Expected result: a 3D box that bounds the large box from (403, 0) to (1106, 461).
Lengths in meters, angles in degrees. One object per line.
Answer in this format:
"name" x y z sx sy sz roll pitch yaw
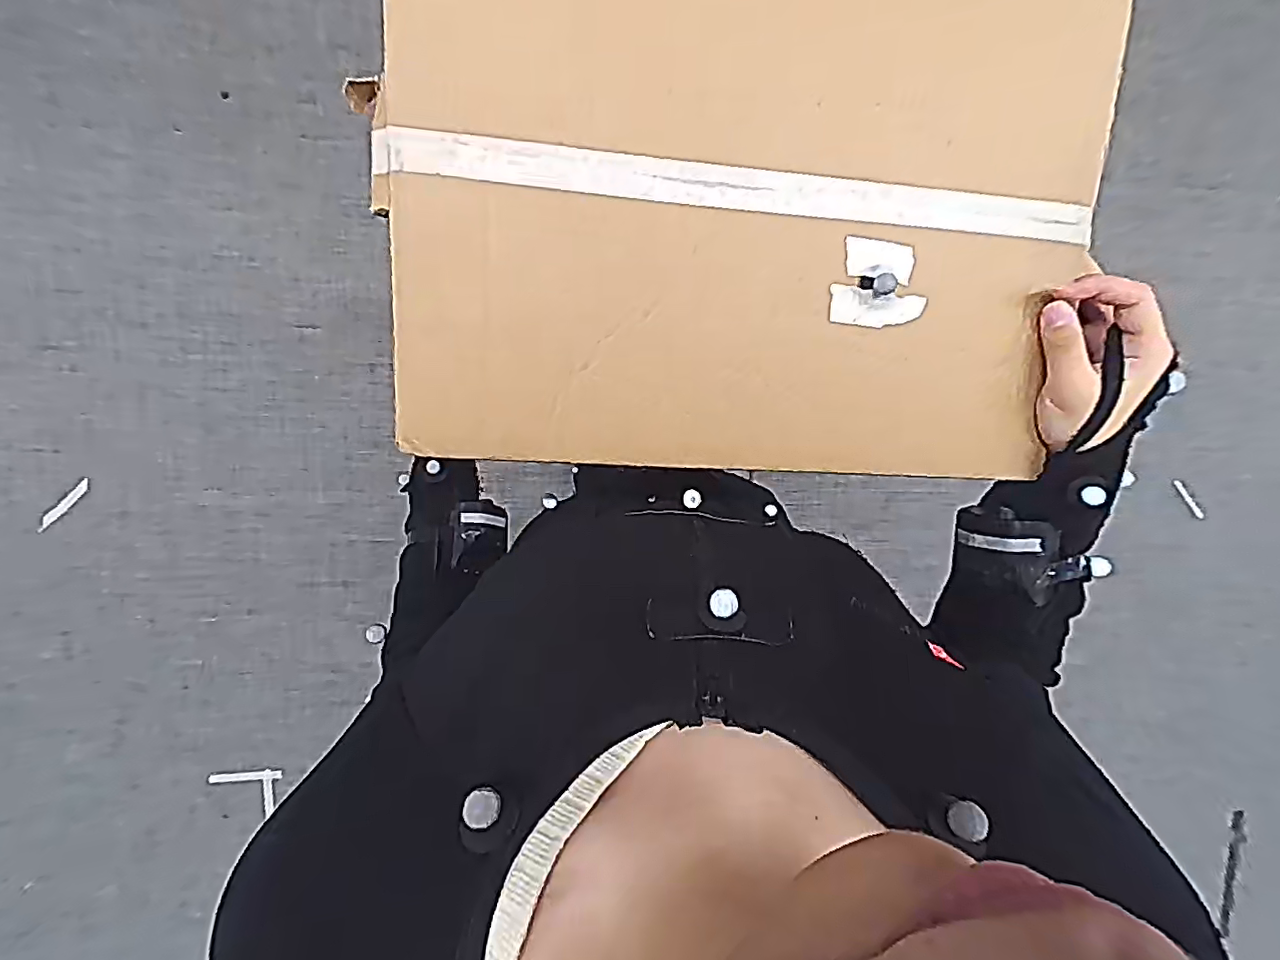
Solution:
"large box" 0.050 -0.192 0.455 0.408 0.320 0.320 2 101 -10
